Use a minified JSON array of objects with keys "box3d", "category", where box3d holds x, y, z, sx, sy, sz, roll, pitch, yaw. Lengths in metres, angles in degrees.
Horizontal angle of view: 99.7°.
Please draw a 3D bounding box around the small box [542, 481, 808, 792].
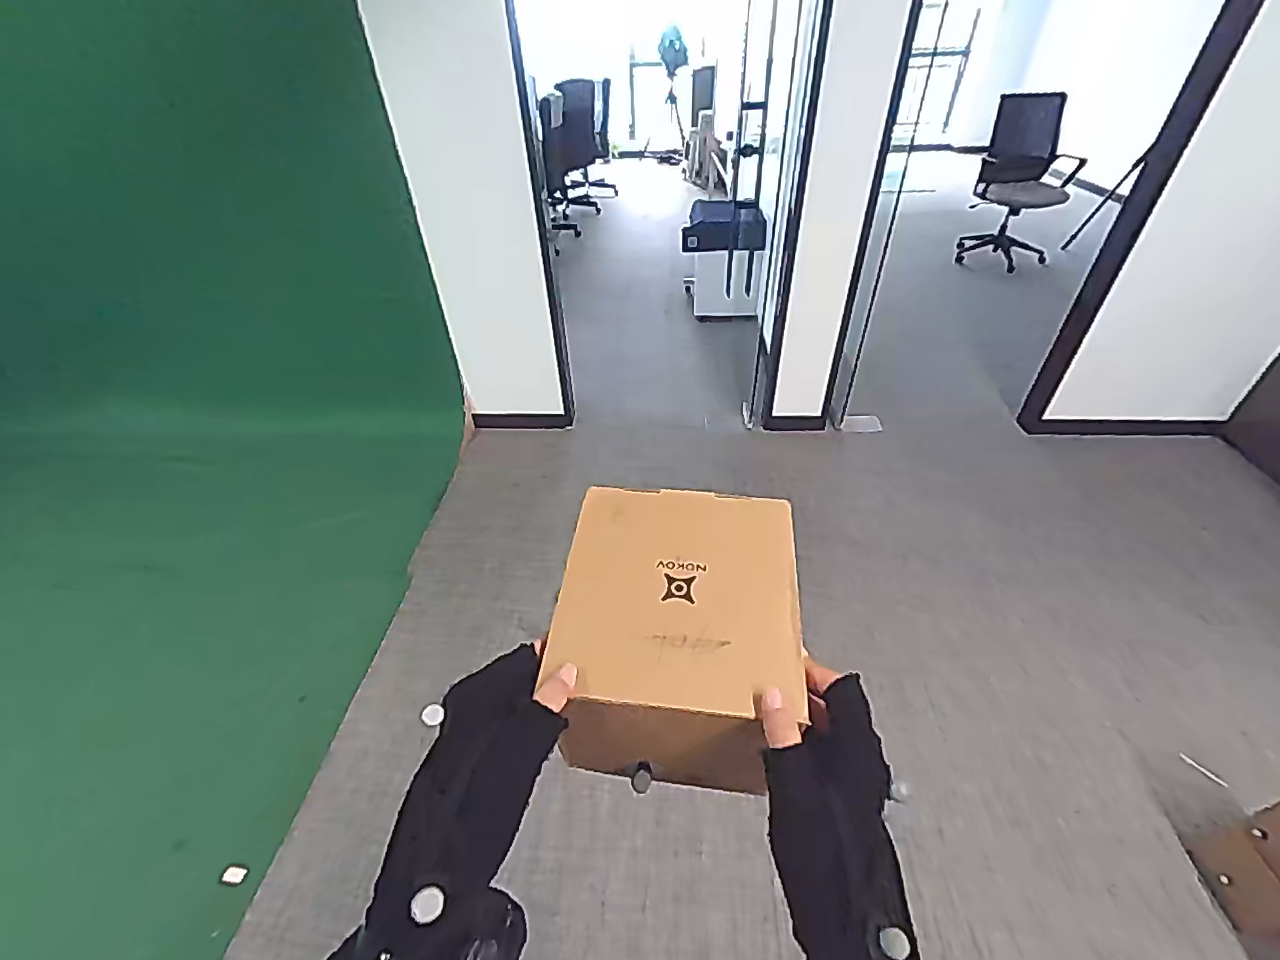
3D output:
[{"box3d":[0.031,0.127,0.438,0.168,0.176,0.179,6,50,6],"category":"small box"}]
